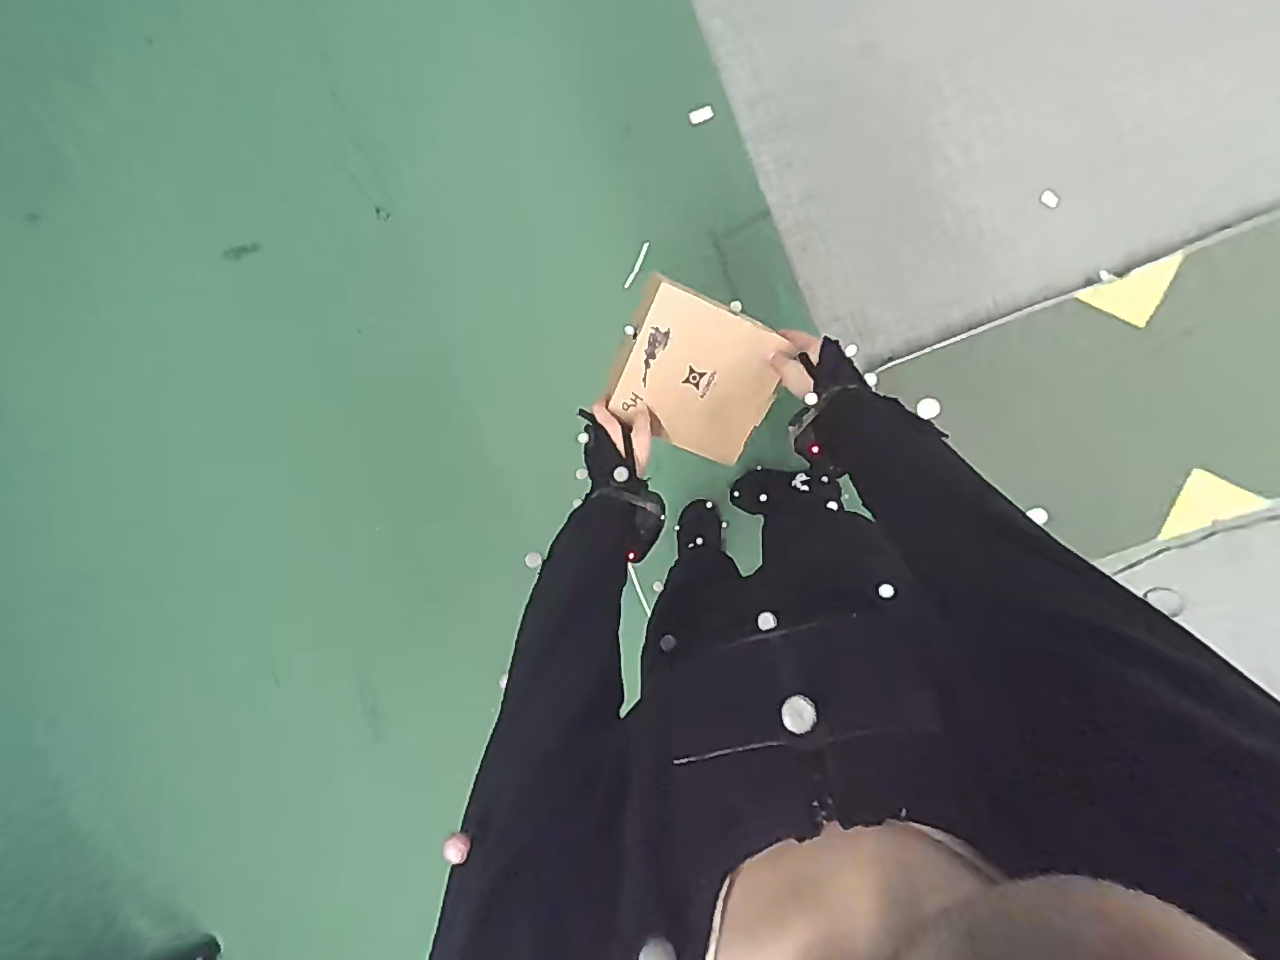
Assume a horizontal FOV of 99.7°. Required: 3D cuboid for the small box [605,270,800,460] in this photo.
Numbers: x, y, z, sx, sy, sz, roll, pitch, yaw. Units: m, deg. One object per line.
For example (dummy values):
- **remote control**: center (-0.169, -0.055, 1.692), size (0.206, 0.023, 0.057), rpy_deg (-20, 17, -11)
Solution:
- **small box**: center (0.066, -0.155, 0.690), size (0.179, 0.176, 0.168), rpy_deg (22, 111, -13)
